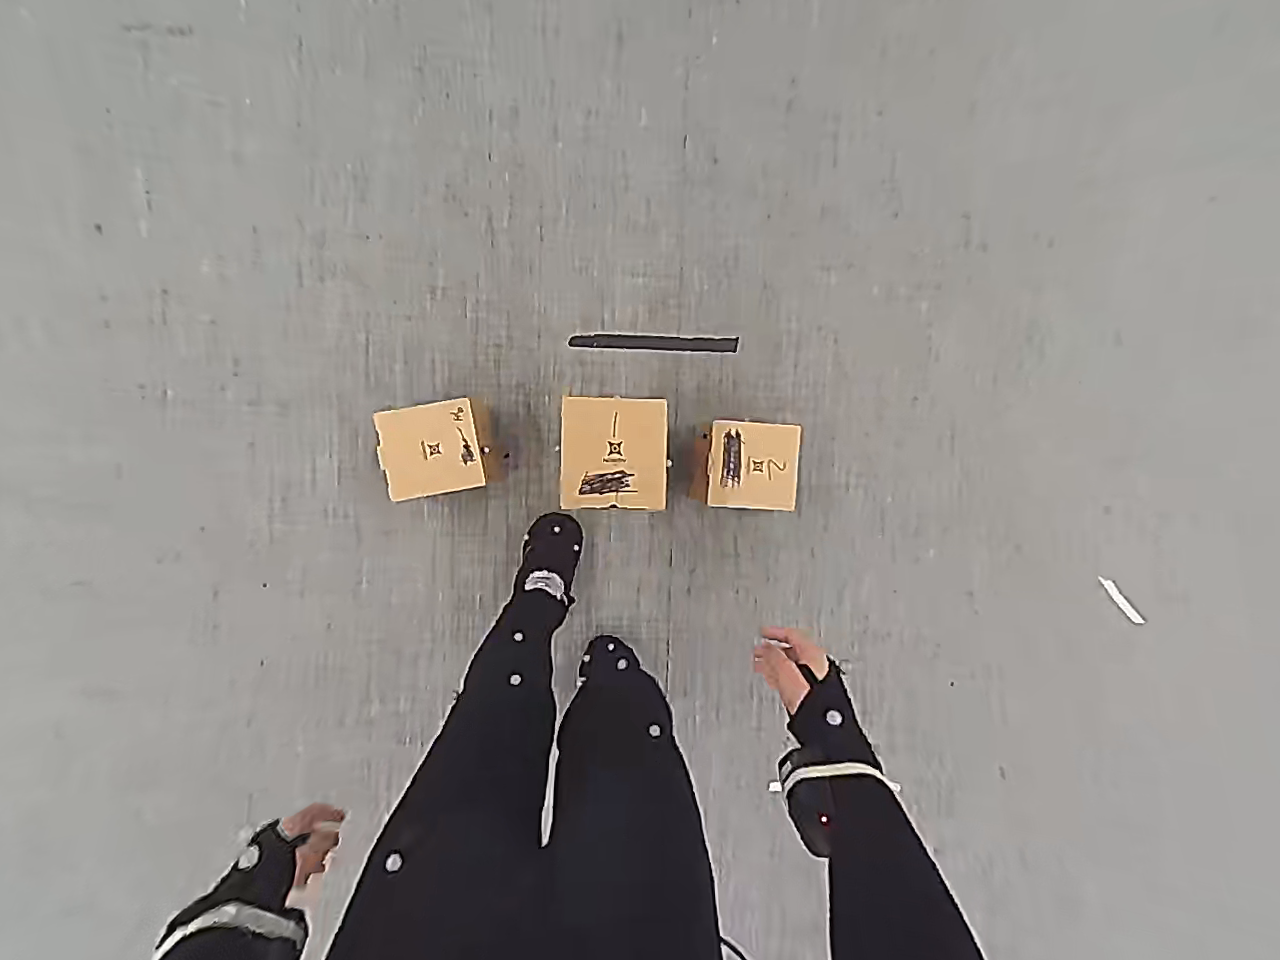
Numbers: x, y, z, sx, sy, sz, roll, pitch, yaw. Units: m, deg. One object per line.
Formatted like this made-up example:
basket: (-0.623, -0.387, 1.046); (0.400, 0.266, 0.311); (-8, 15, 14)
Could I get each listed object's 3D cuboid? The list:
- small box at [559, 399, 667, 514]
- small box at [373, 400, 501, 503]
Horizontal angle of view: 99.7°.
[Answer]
small box: (-0.048, -0.039, 0.917); (0.168, 0.176, 0.179); (1, 92, -5)
small box: (-0.386, -0.054, 1.056); (0.179, 0.176, 0.168); (-11, 94, -4)
